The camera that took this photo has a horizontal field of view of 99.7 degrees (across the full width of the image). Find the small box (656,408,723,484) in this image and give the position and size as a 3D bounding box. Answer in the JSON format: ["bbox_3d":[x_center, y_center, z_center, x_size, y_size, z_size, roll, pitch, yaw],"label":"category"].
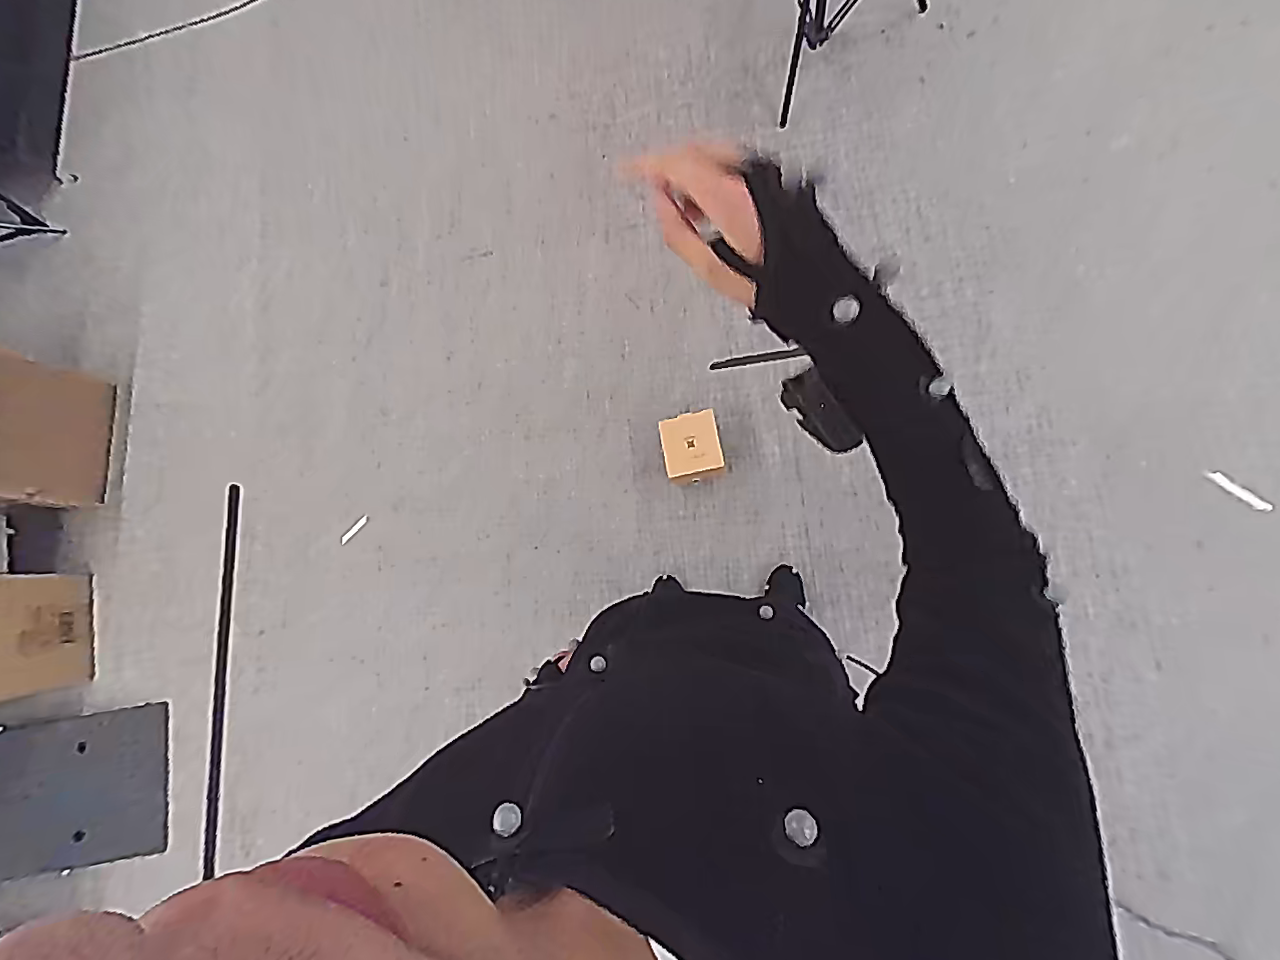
[{"bbox_3d":[0.152,-0.098,1.628,0.168,0.176,0.179,-12,79,10],"label":"small box"}]
